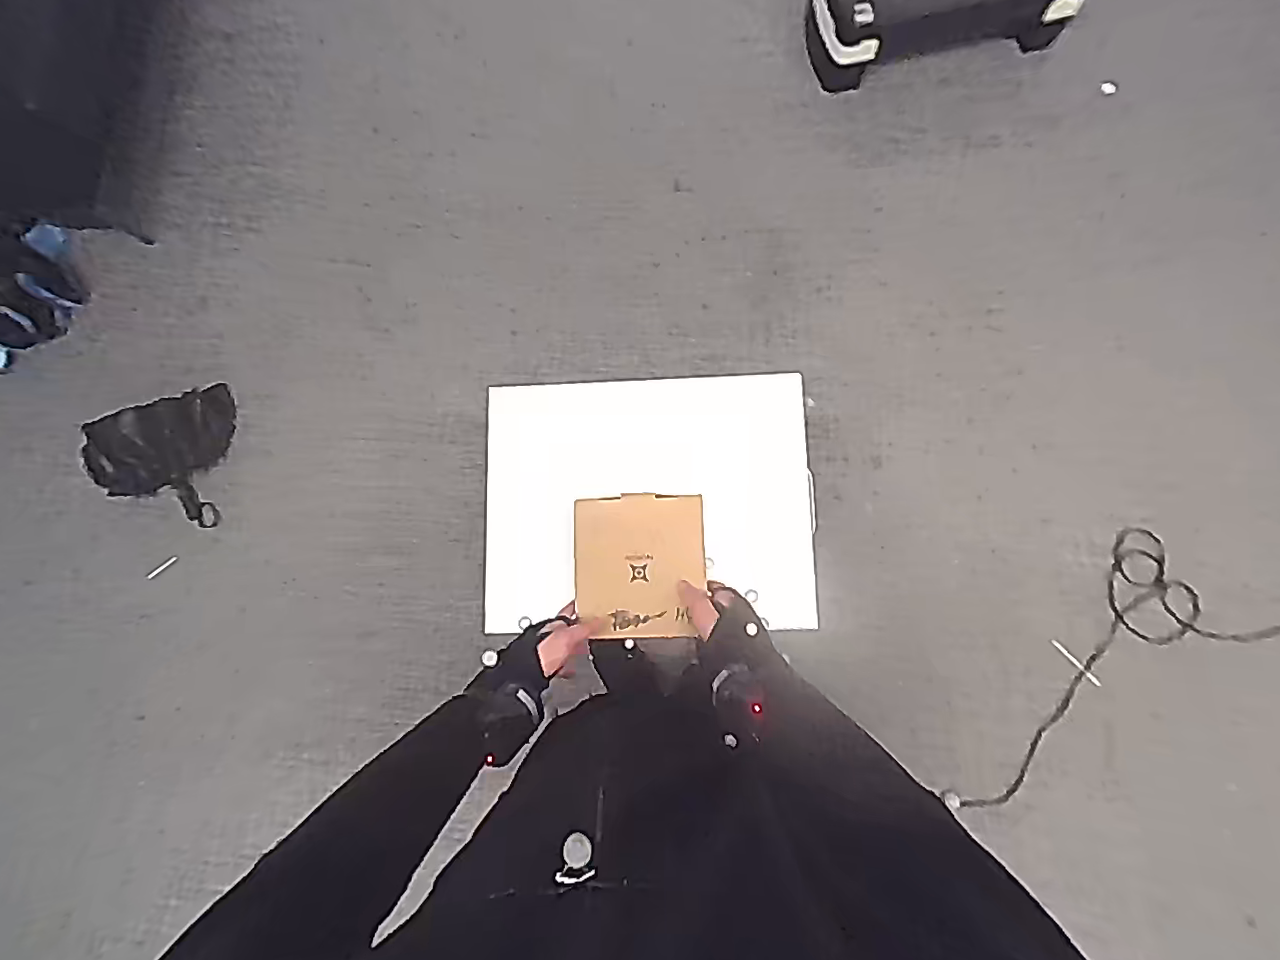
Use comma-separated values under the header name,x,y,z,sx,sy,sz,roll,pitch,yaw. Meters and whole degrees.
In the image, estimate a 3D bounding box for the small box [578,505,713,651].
name,x,y,z,sx,sy,sz,roll,pitch,yaw
small box,0.008,0.136,0.751,0.168,0.176,0.179,-4,79,4
